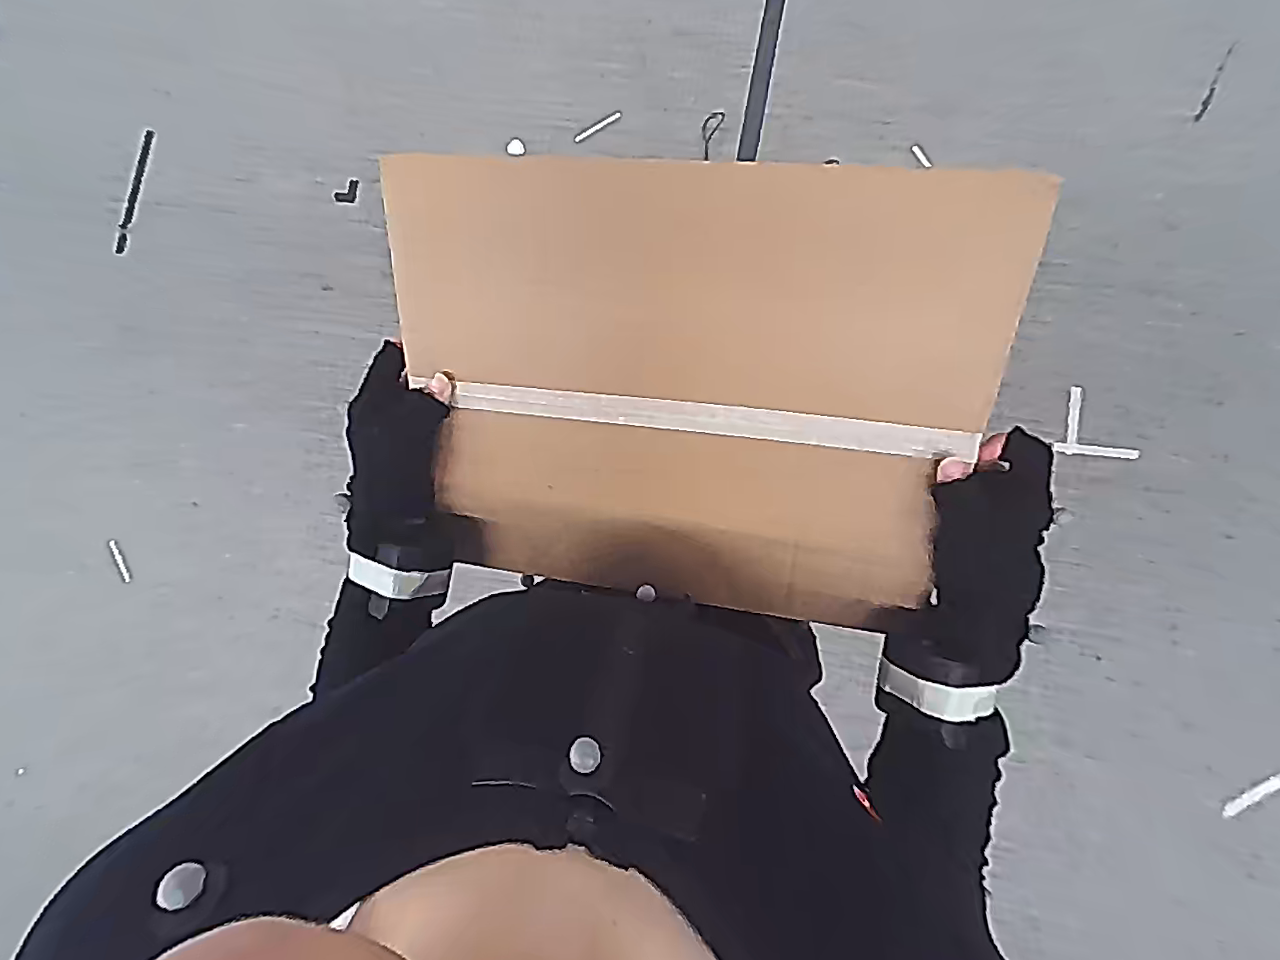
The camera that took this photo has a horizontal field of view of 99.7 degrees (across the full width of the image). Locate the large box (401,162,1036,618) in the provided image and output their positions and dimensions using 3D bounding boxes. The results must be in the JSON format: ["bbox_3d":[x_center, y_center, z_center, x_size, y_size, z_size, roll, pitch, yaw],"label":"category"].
[{"bbox_3d":[0.052,-0.110,0.529,0.408,0.320,0.320,8,116,10],"label":"large box"}]
